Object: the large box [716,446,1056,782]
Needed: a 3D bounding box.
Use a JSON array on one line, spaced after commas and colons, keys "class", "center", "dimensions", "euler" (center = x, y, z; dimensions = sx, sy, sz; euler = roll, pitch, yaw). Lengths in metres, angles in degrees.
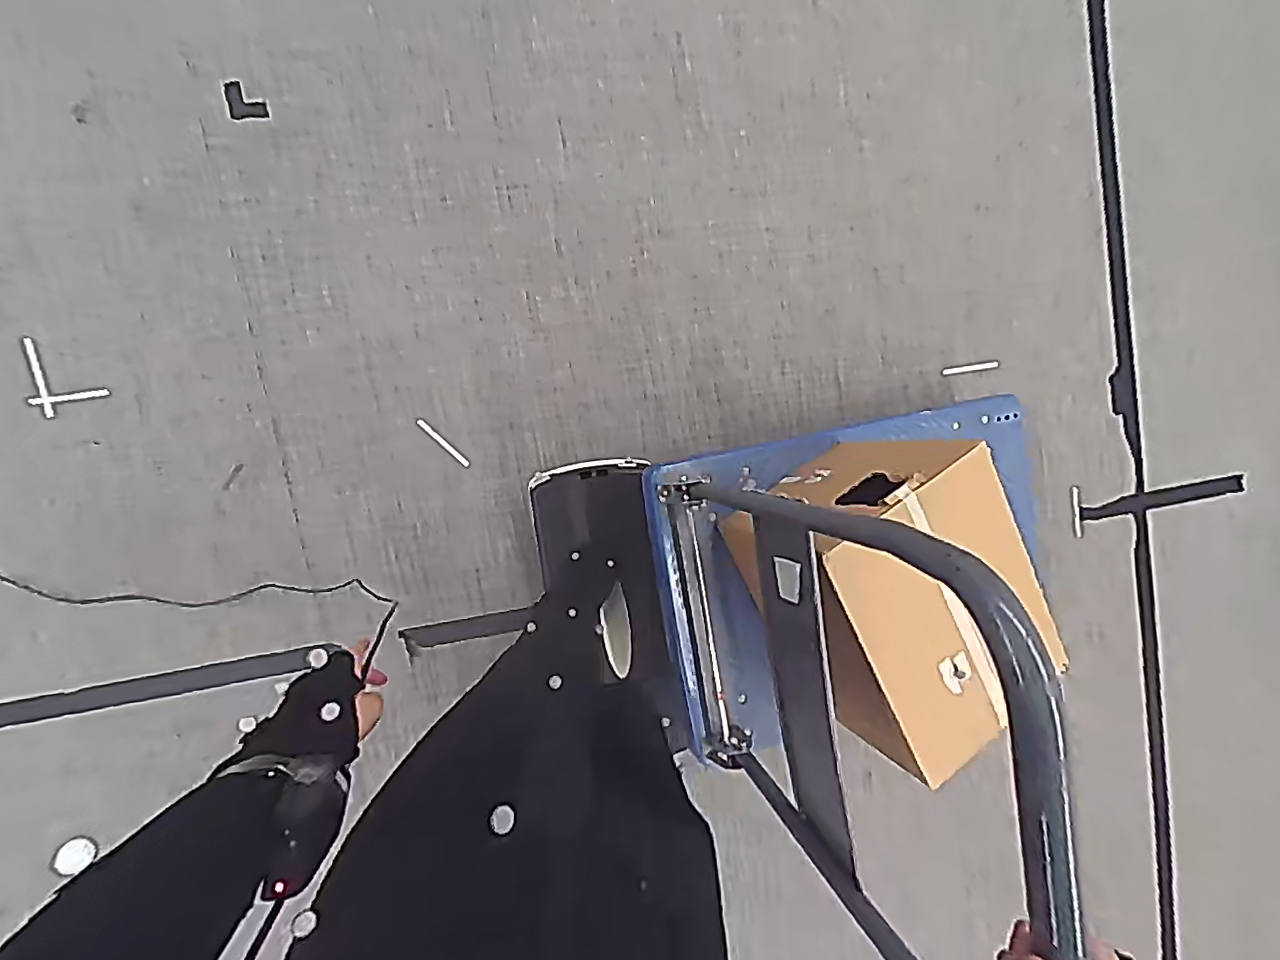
[{"class": "large box", "center": [0.396, 0.187, 0.919], "dimensions": [0.320, 0.320, 0.408], "euler": [-31, 102, -14]}]
